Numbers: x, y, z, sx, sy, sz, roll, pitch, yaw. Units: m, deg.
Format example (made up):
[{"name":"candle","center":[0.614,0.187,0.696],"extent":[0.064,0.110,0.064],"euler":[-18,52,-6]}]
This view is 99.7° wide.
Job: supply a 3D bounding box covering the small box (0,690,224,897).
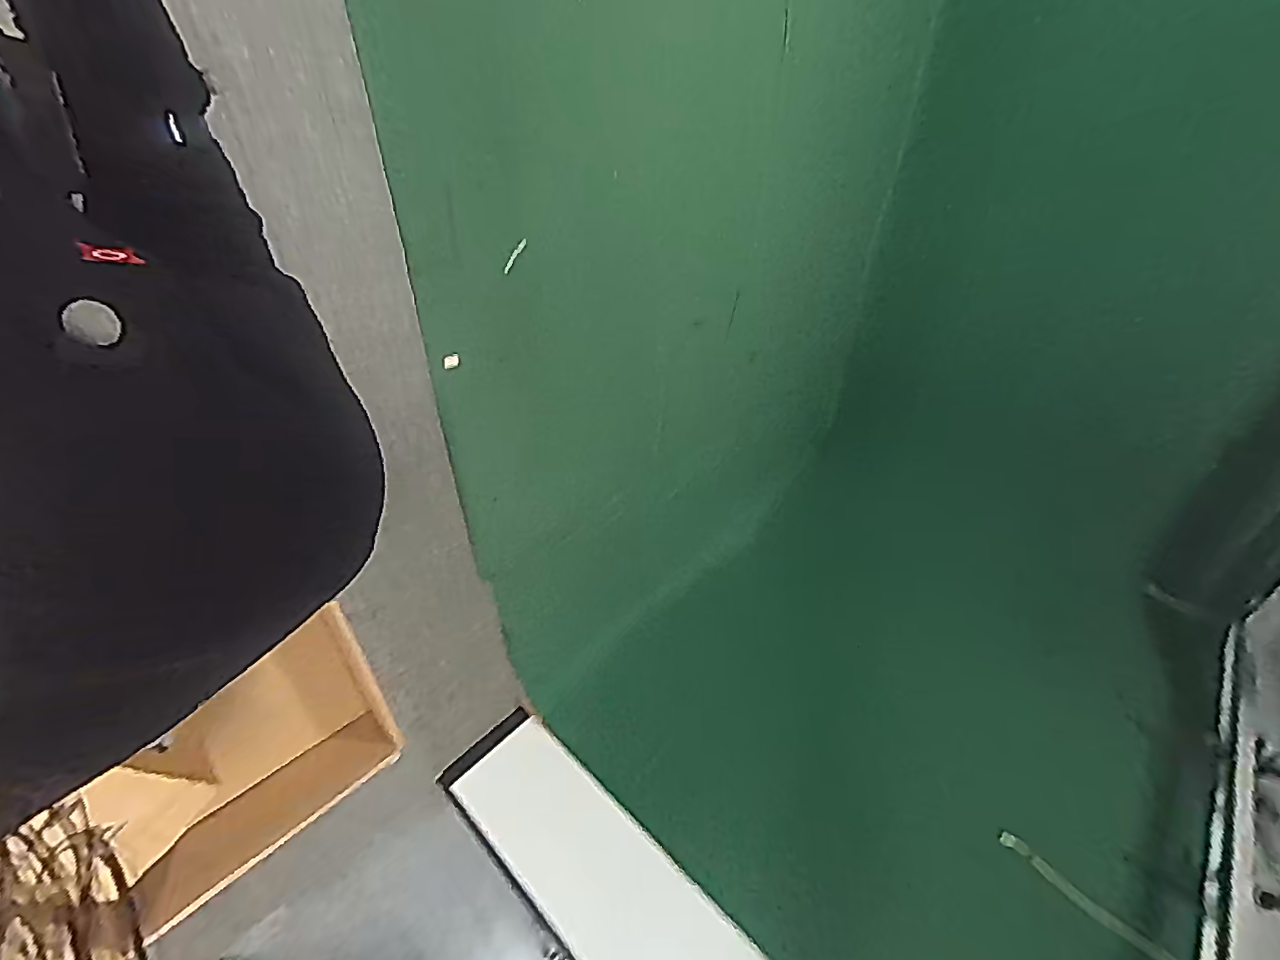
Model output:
[{"name":"small box","center":[-0.717,0.408,0.716],"extent":[0.168,0.176,0.179],"euler":[-53,142,-19]}]
